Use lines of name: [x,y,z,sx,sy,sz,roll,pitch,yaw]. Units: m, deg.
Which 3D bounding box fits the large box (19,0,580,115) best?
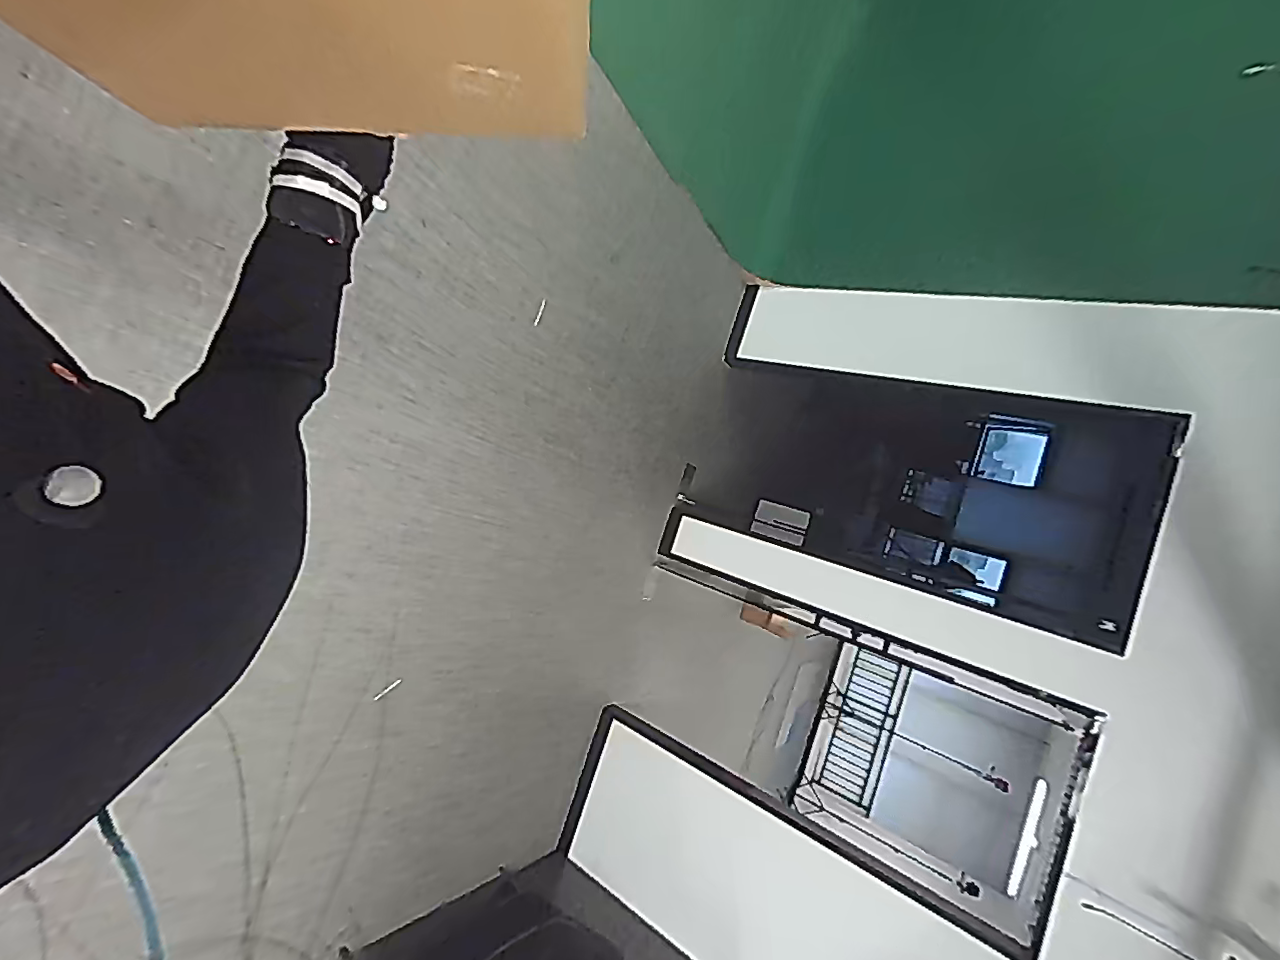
large box: [-0.188,-0.403,0.192,0.408,0.320,0.320,-130,-140,-83]
